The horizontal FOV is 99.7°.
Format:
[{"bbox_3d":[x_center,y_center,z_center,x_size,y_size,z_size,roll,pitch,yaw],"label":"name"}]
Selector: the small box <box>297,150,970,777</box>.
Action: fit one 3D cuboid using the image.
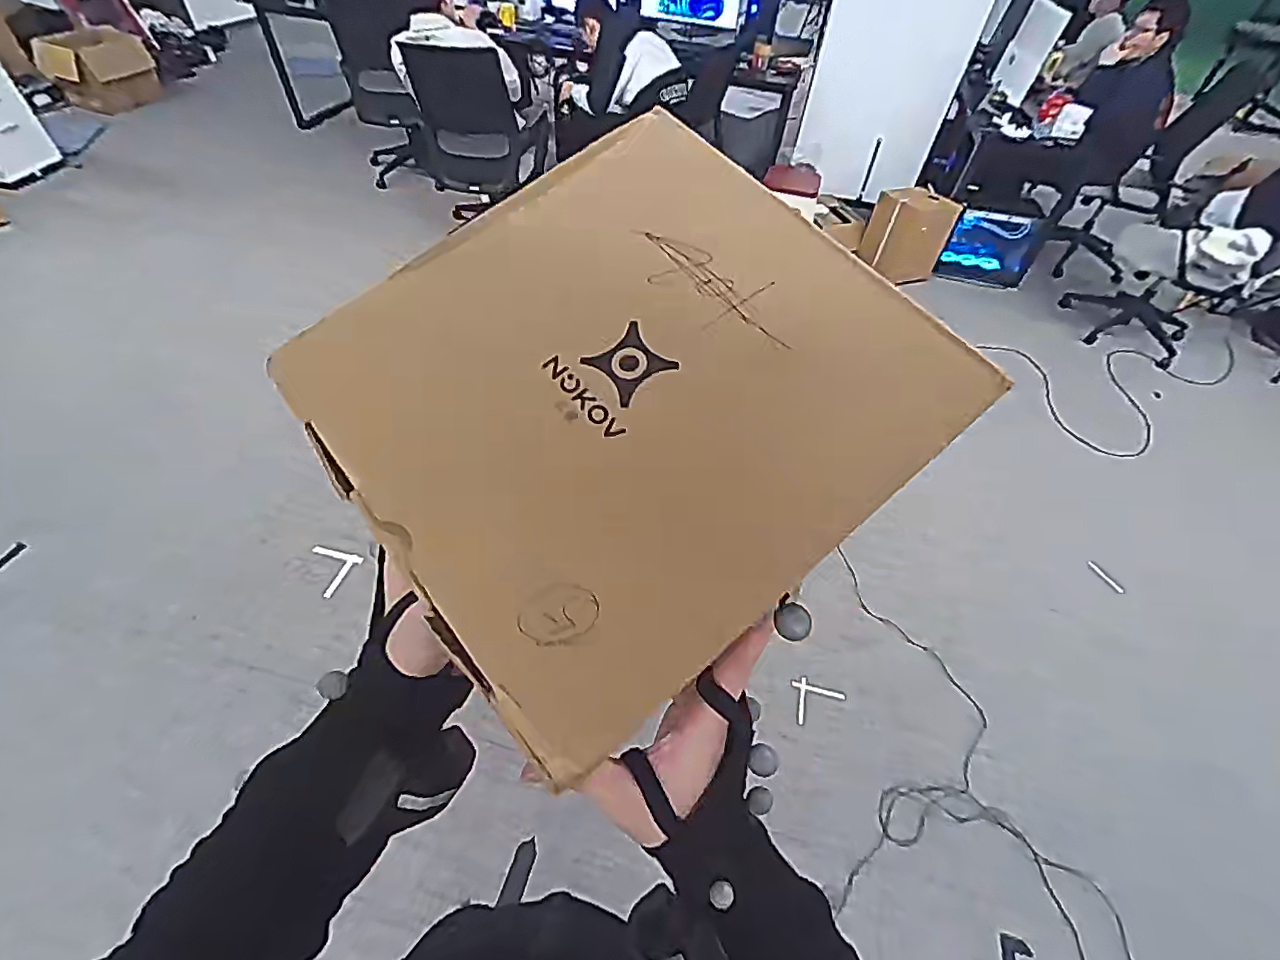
[{"bbox_3d":[-0.002,0.001,0.259,0.179,0.176,0.168,-40,73,-11],"label":"small box"}]
